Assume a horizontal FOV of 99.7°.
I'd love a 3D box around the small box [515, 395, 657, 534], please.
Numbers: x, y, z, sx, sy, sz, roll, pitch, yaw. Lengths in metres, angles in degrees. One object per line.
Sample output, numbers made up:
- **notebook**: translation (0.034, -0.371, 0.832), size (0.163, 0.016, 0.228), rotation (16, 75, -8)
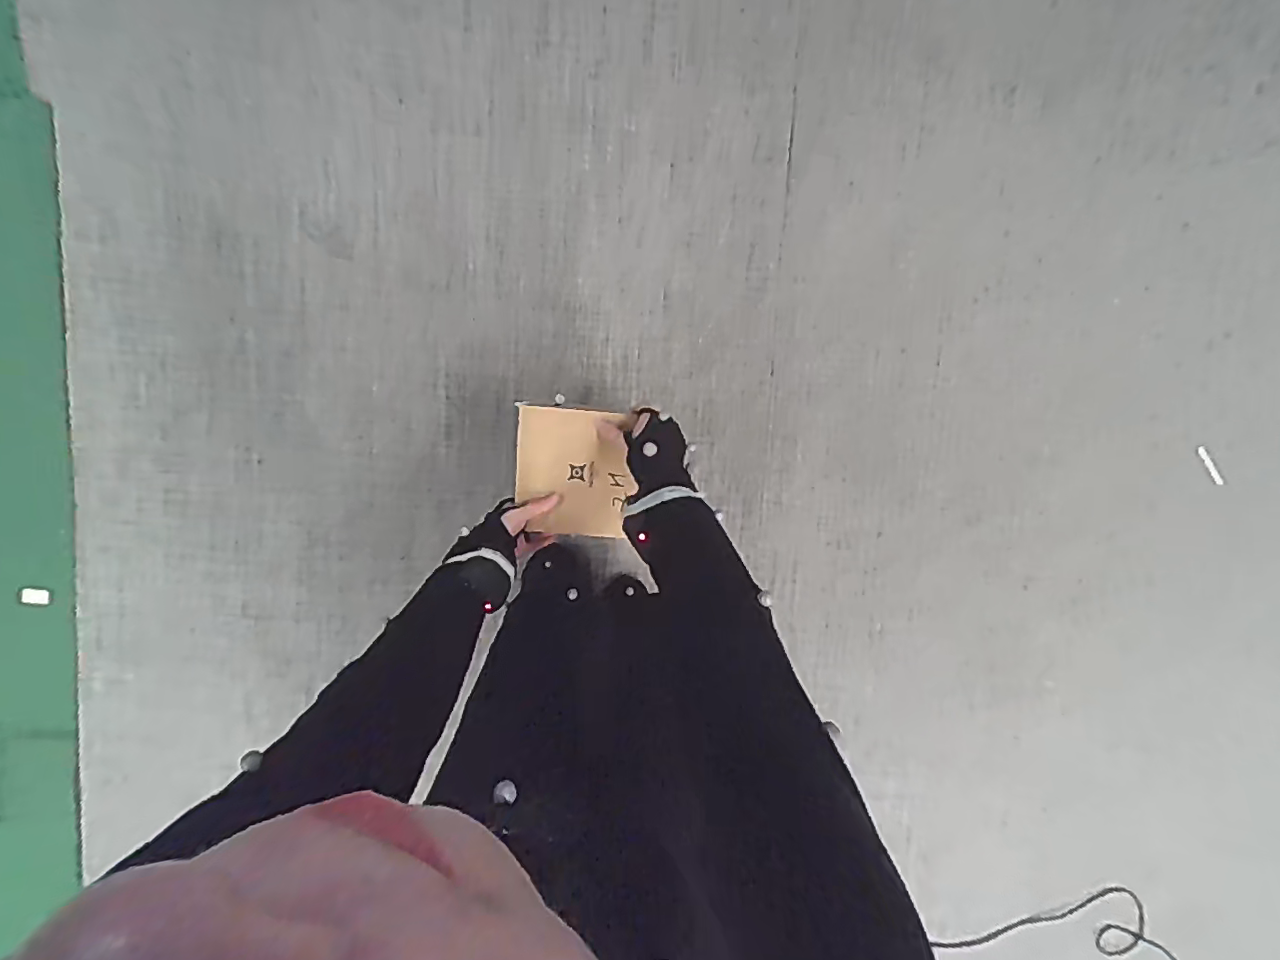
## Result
- **small box**: translation (-0.073, -0.031, 0.778), size (0.179, 0.176, 0.168), rotation (5, 102, -3)
